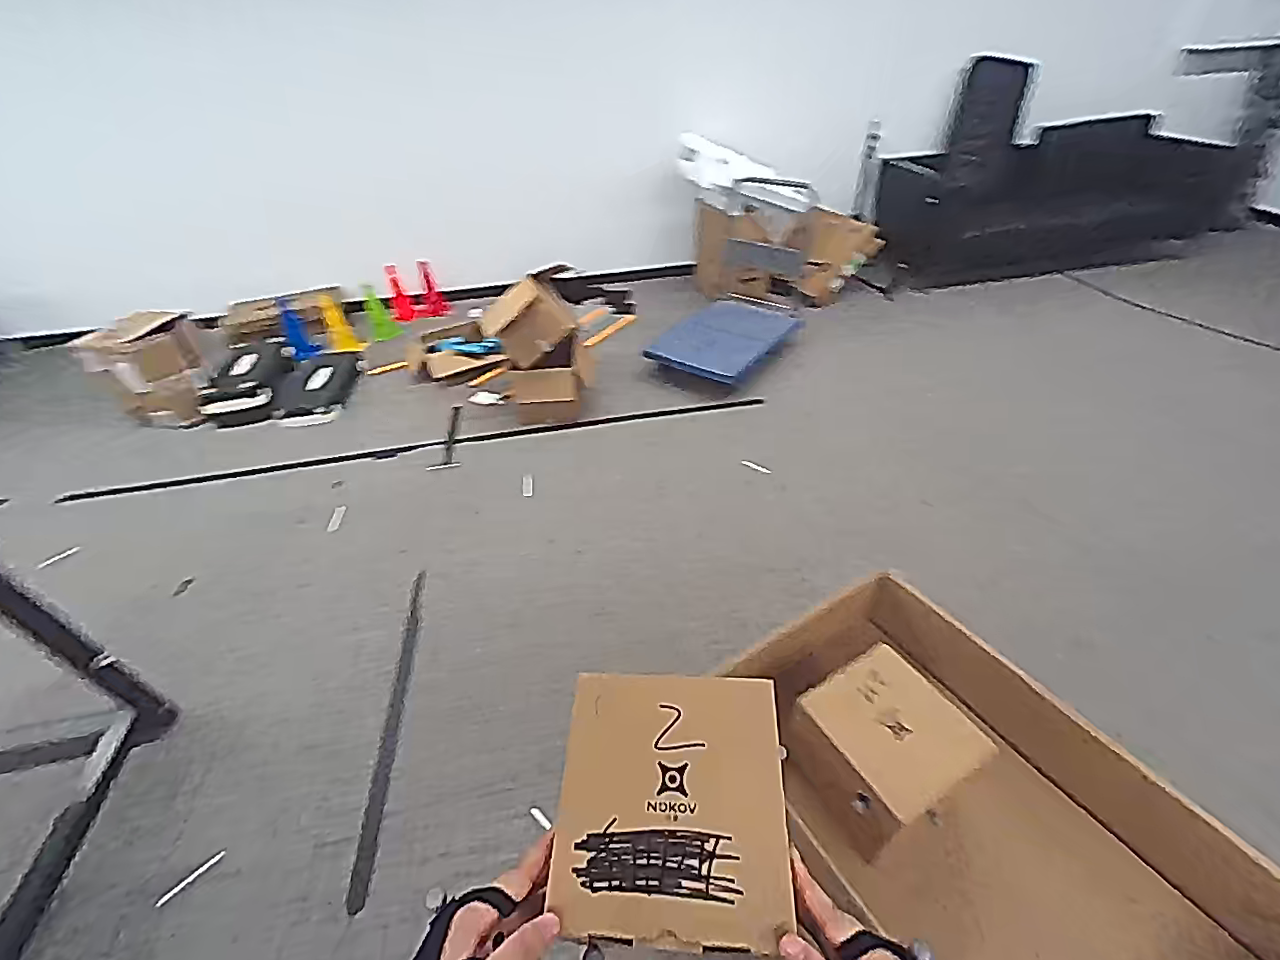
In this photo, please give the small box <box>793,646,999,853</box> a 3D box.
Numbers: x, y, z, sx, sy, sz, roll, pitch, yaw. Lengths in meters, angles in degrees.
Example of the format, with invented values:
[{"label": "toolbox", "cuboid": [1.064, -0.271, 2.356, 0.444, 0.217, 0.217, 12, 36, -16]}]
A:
[{"label": "small box", "cuboid": [0.334, 0.373, 0.742, 0.168, 0.176, 0.179, -23, 43, -20]}]
